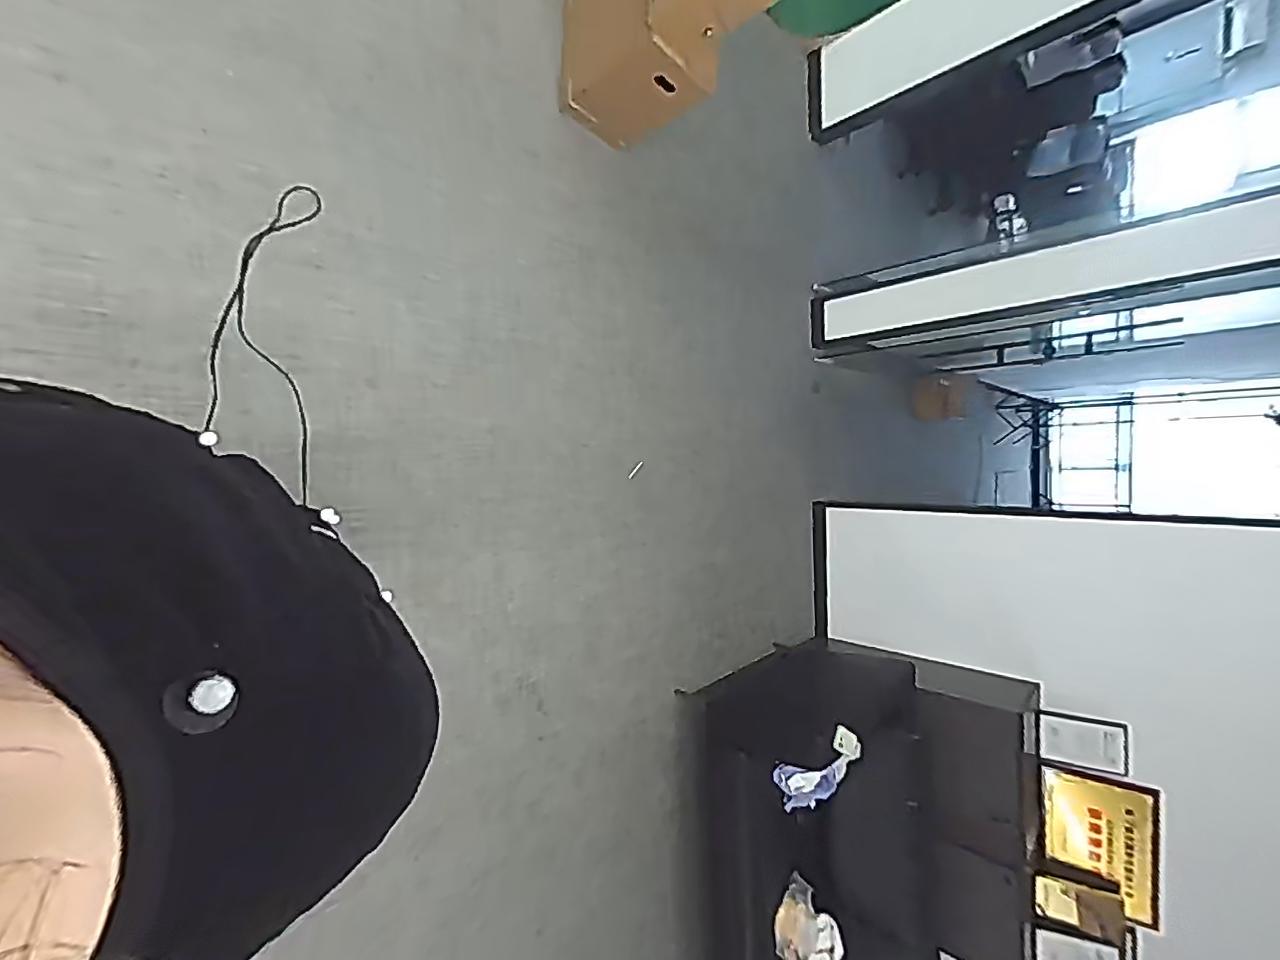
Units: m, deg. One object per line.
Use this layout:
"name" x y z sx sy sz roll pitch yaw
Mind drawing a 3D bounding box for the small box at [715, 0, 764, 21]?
"small box" 0.270 -1.376 1.424 0.179 0.176 0.168 12 83 -47

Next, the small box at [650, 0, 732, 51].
"small box" 0.150 -1.377 1.537 0.179 0.176 0.168 6 86 -46
